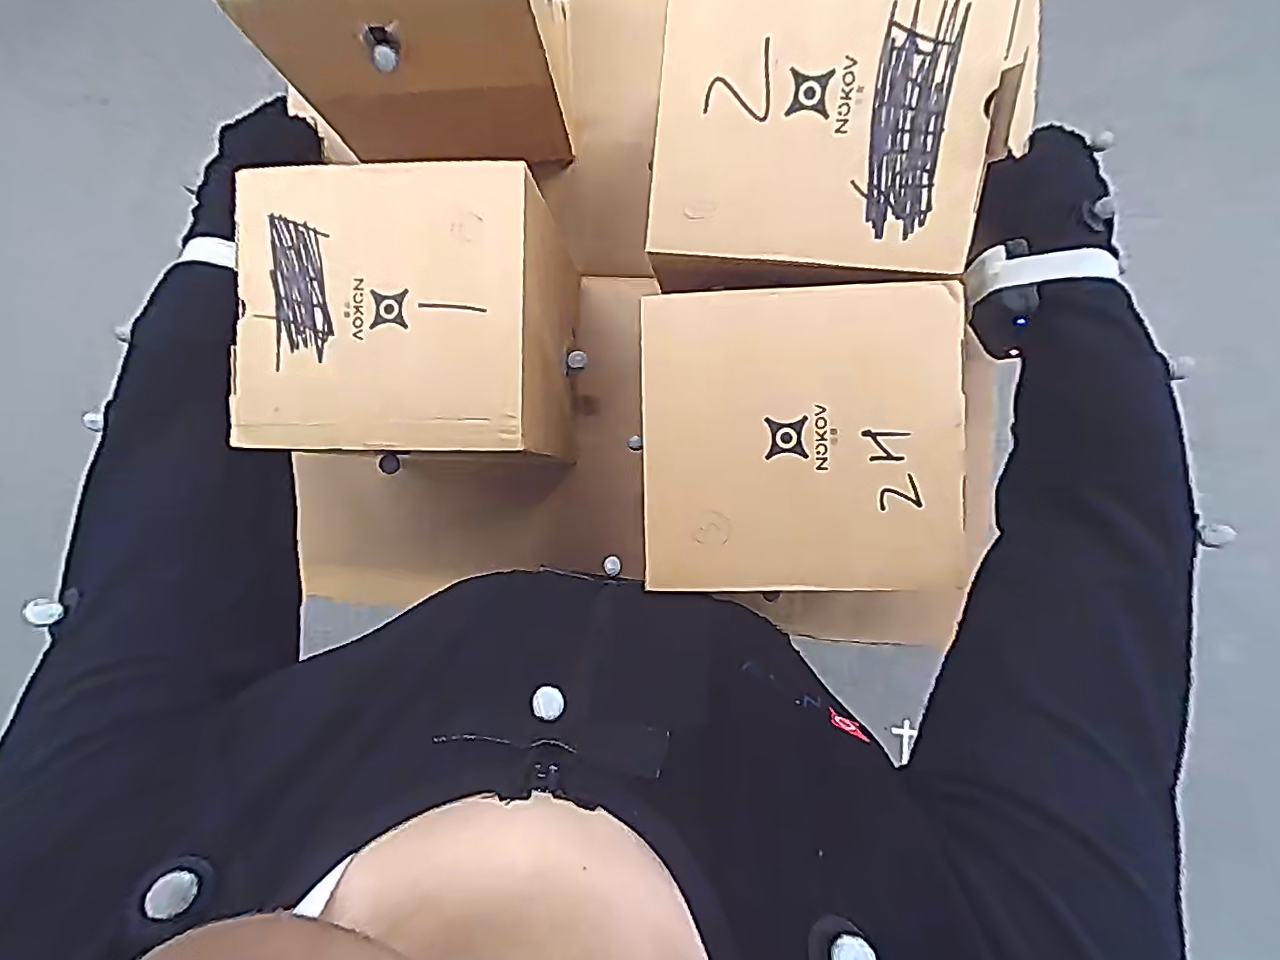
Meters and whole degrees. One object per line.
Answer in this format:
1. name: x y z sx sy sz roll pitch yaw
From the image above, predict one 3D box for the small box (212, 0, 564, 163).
1. small box: -0.151 -0.349 0.370 0.179 0.176 0.168 -2 88 5
